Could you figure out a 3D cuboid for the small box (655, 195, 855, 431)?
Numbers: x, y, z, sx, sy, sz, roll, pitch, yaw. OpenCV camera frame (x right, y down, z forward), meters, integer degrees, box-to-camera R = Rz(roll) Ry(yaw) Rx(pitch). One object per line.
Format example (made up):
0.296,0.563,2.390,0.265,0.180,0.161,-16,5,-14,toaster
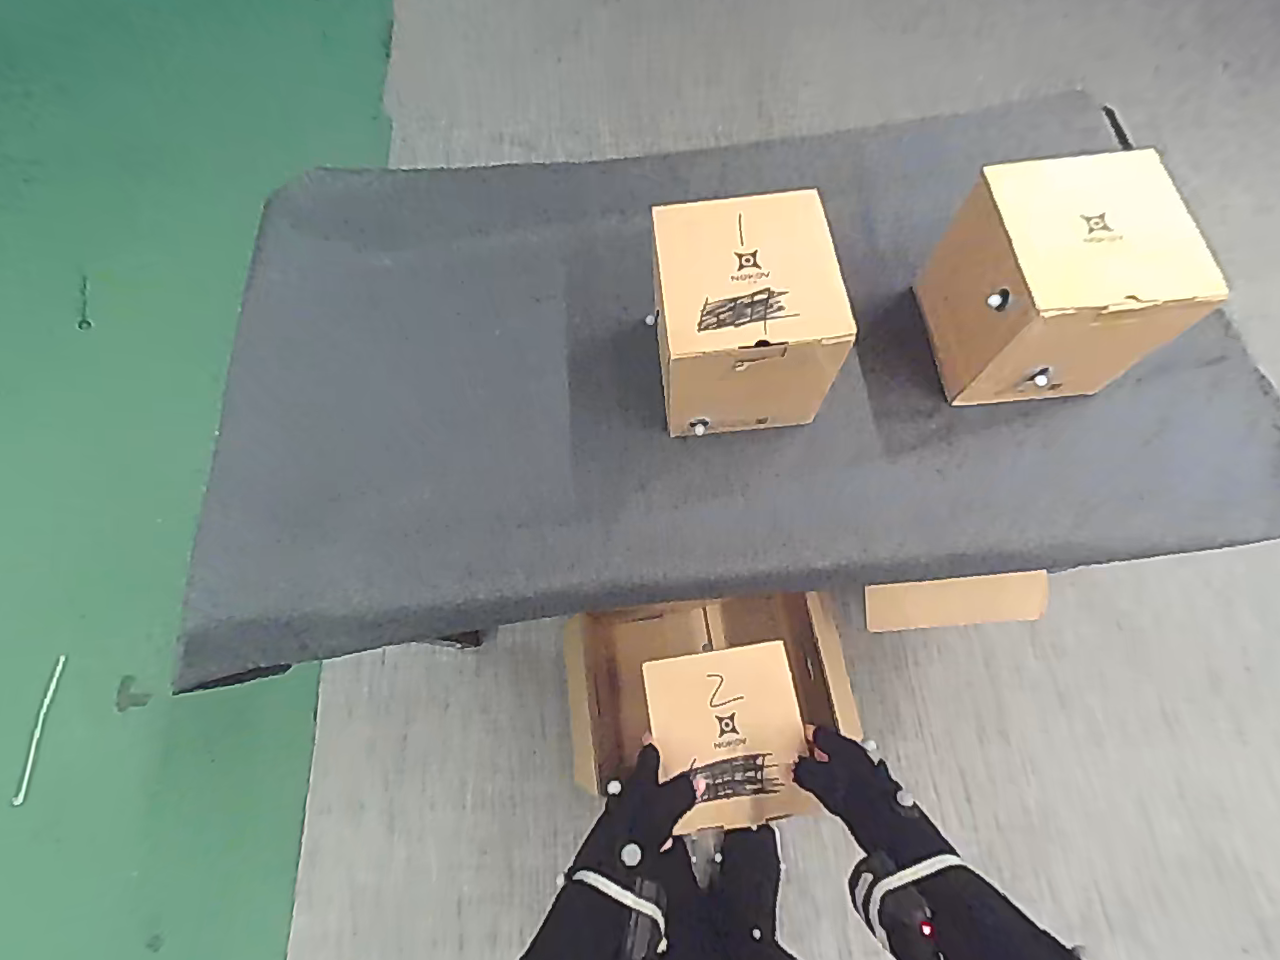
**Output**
0.106,-0.162,0.573,0.168,0.176,0.179,-5,68,1,small box

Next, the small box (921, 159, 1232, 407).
0.425,-0.196,0.568,0.168,0.176,0.179,-5,70,2,small box
